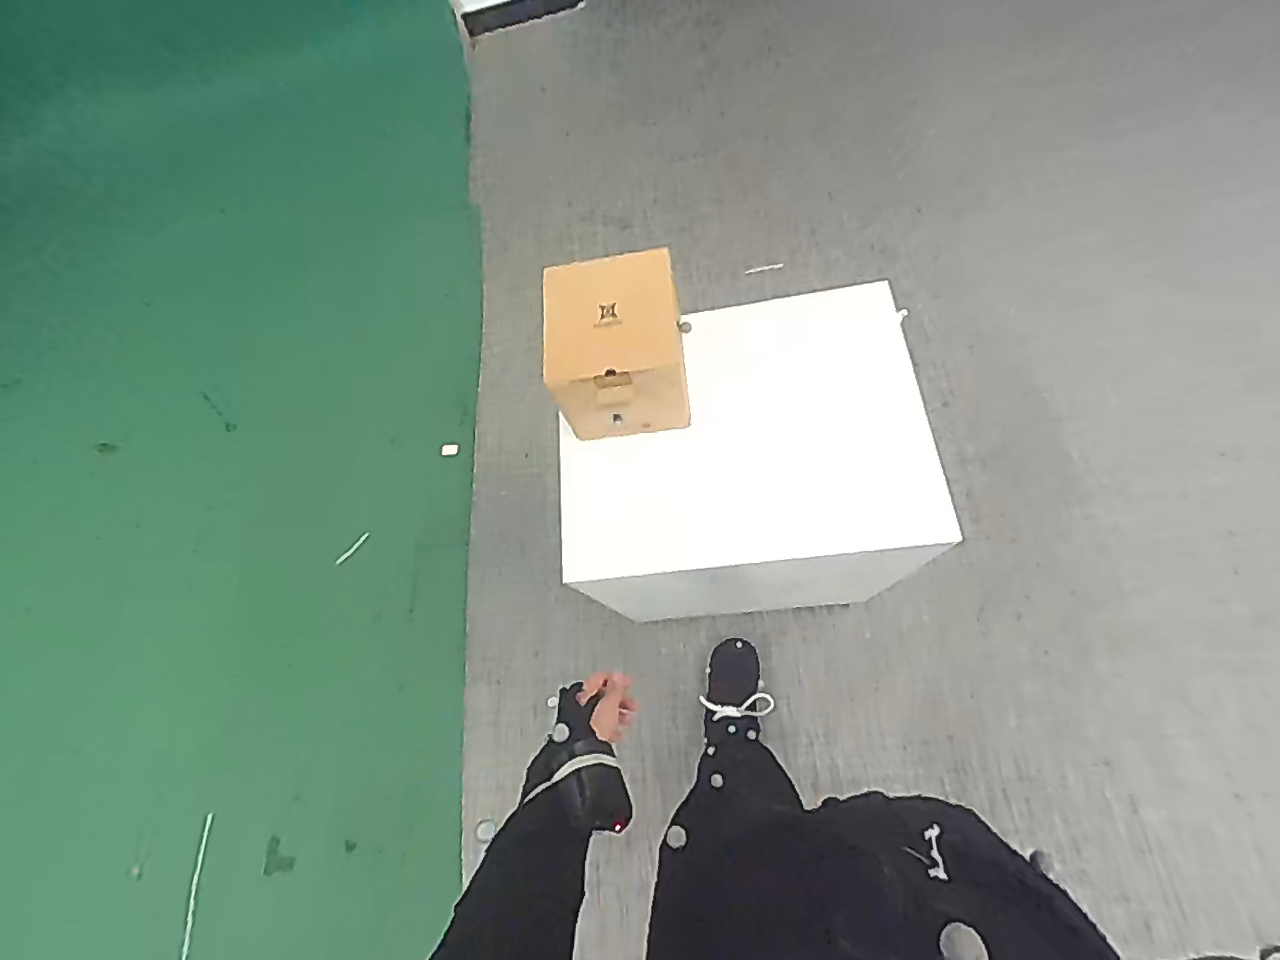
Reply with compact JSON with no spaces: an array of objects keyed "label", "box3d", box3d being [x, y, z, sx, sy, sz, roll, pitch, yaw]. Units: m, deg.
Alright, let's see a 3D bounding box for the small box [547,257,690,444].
[{"label":"small box","box3d":[-0.023,-0.167,0.737,0.168,0.176,0.179,-7,70,7]}]
